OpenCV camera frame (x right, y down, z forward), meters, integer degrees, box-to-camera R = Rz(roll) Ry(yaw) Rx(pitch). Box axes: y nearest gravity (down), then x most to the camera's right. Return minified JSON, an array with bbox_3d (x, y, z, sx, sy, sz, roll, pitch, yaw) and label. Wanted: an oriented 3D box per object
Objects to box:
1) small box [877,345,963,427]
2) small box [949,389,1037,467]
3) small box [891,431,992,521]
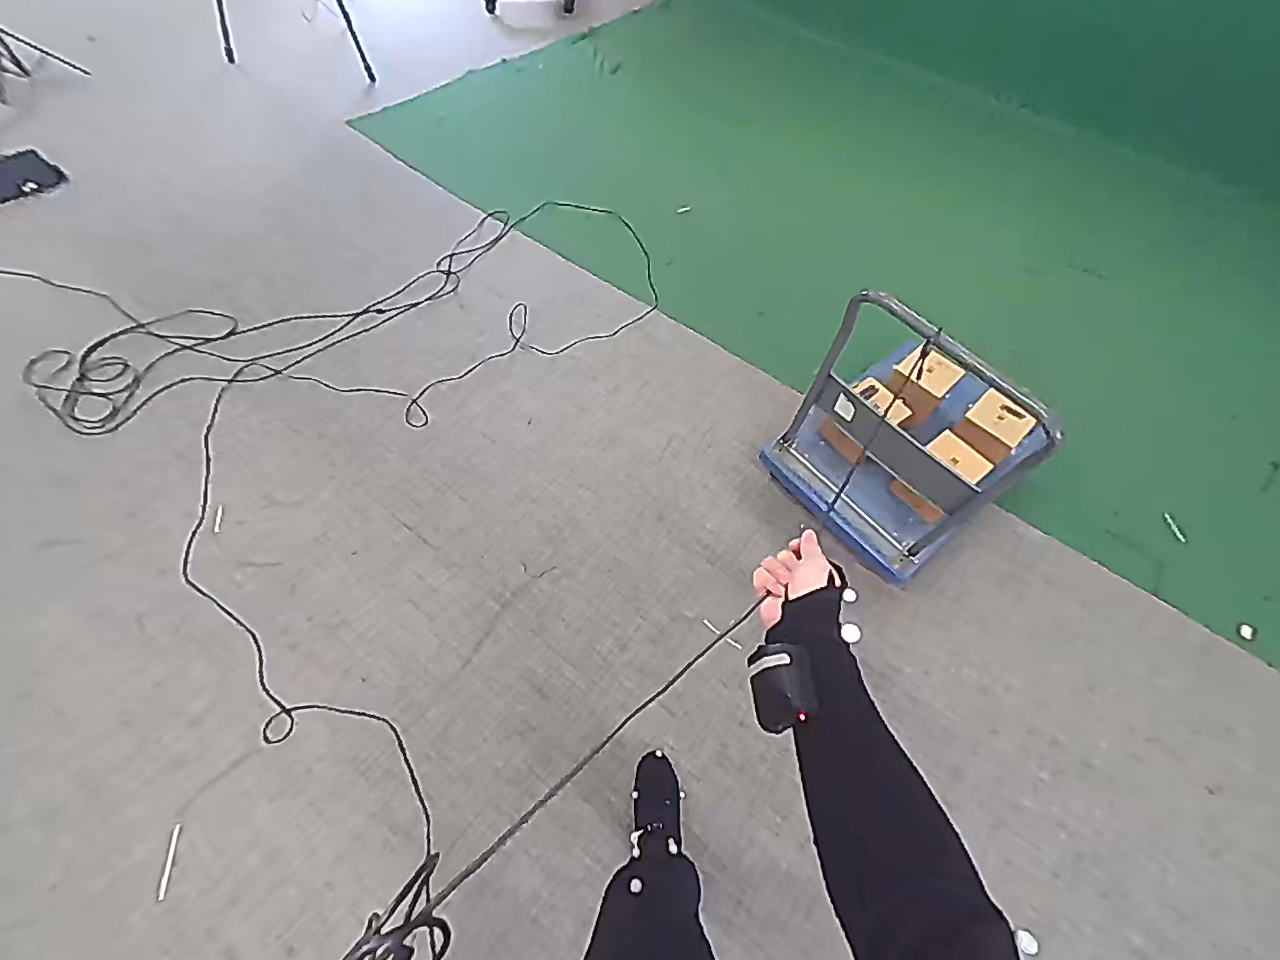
[{"bbox_3d":[0.927,-0.310,1.810,0.179,0.176,0.168,-37,69,-24],"label":"small box"},{"bbox_3d":[1.101,-0.150,1.724,0.179,0.176,0.168,-38,67,-23],"label":"small box"},{"bbox_3d":[0.893,-0.009,1.622,0.179,0.176,0.168,-33,66,-22],"label":"small box"}]
